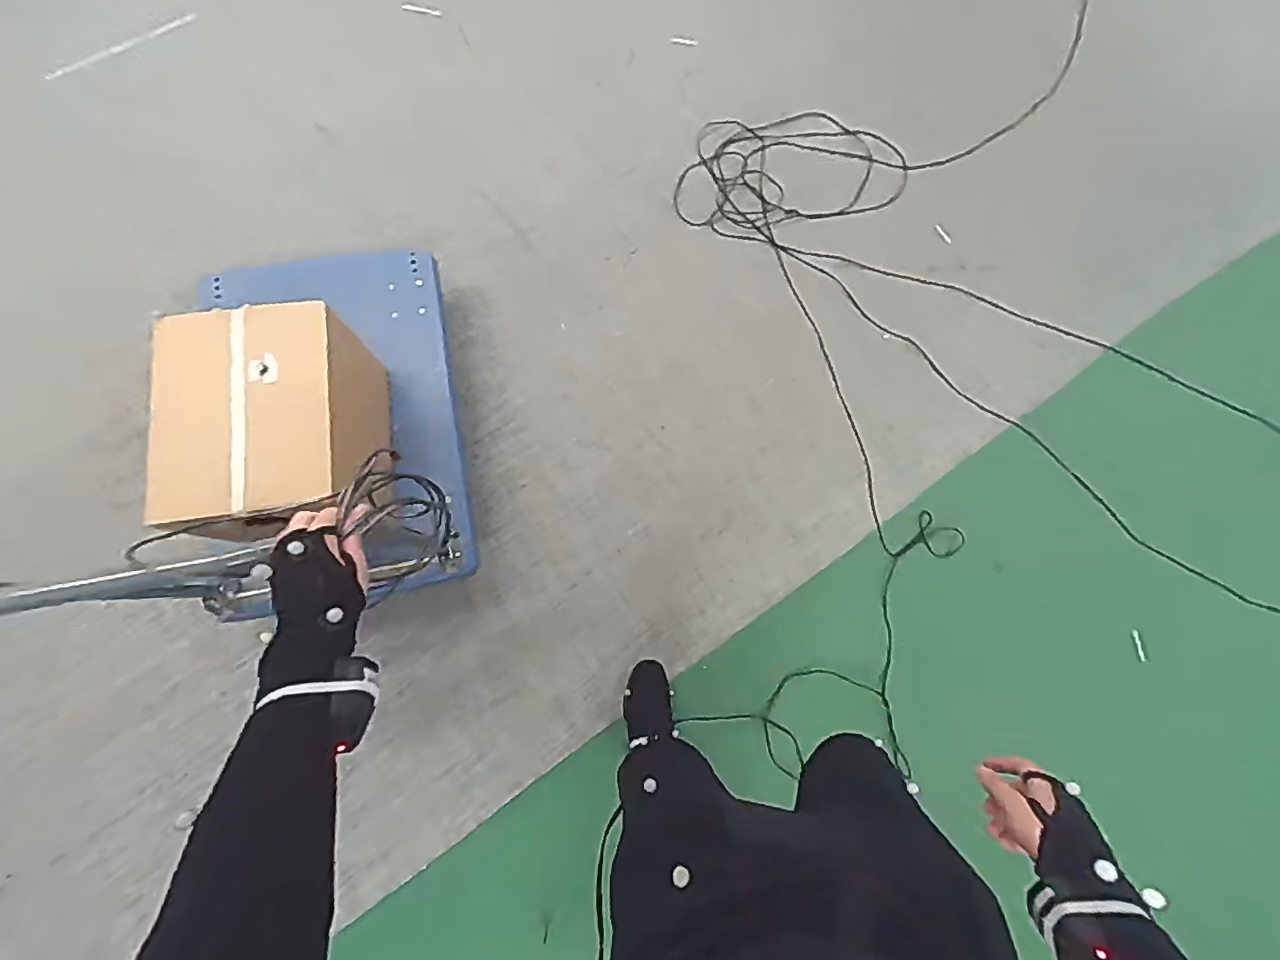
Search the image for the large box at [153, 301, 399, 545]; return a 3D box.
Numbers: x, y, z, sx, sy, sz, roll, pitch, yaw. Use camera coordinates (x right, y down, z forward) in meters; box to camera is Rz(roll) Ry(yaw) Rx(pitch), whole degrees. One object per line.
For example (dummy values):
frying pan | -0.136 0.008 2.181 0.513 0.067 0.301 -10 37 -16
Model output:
large box | -0.725 -0.100 1.129 0.320 0.320 0.408 -8 77 -6
